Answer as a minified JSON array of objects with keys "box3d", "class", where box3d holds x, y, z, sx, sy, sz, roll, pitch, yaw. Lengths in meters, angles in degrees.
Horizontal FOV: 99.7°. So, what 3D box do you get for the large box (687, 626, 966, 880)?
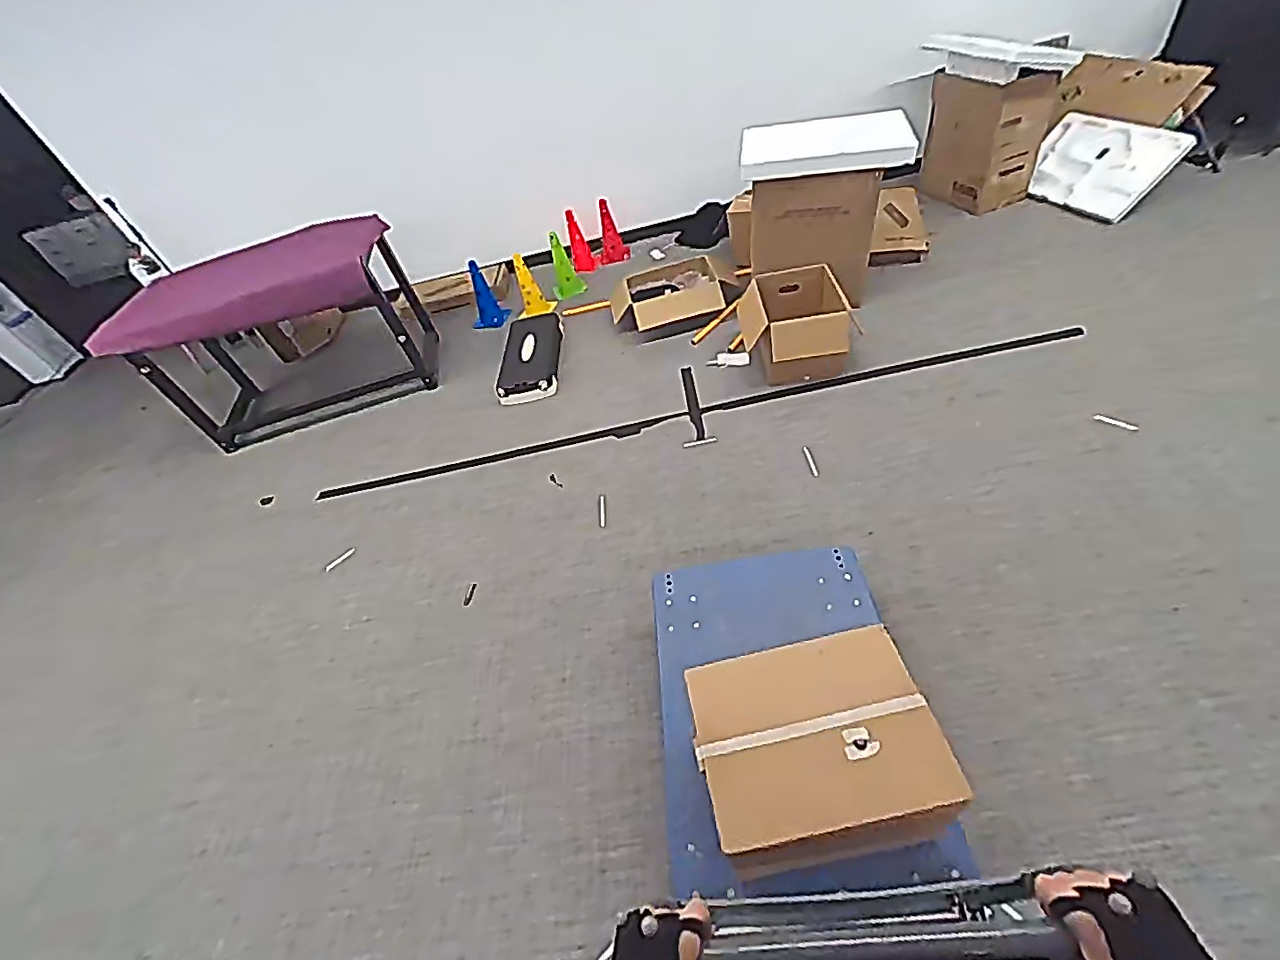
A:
[{"box3d":[0.334,0.546,1.075,0.408,0.320,0.320,-14,46,1],"class":"large box"}]
